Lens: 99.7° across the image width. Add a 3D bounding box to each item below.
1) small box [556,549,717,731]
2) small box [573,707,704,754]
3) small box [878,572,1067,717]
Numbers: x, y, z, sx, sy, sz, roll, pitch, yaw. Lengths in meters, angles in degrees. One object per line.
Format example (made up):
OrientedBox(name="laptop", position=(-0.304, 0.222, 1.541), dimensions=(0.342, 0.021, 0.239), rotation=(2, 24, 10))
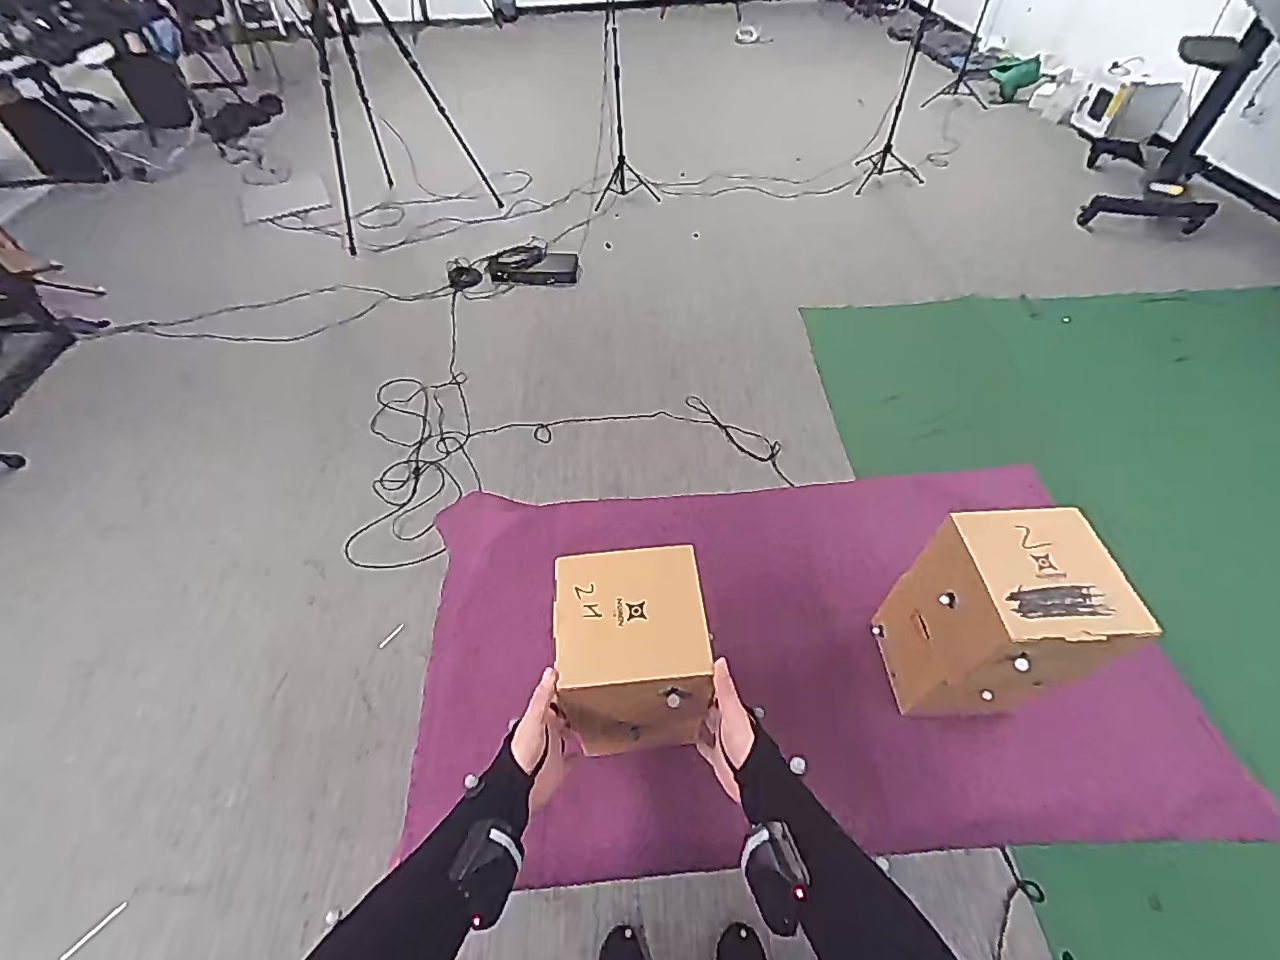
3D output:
OrientedBox(name="small box", position=(-0.008, 0.206, 0.687), dimensions=(0.179, 0.176, 0.168), rotation=(-5, 50, -2))
OrientedBox(name="small box", position=(-0.007, 0.303, 0.821), dimensions=(0.179, 0.176, 0.168), rotation=(-6, 51, -2))
OrientedBox(name="small box", position=(0.489, 0.258, 0.837), dimensions=(0.179, 0.176, 0.168), rotation=(-2, 51, 0))
